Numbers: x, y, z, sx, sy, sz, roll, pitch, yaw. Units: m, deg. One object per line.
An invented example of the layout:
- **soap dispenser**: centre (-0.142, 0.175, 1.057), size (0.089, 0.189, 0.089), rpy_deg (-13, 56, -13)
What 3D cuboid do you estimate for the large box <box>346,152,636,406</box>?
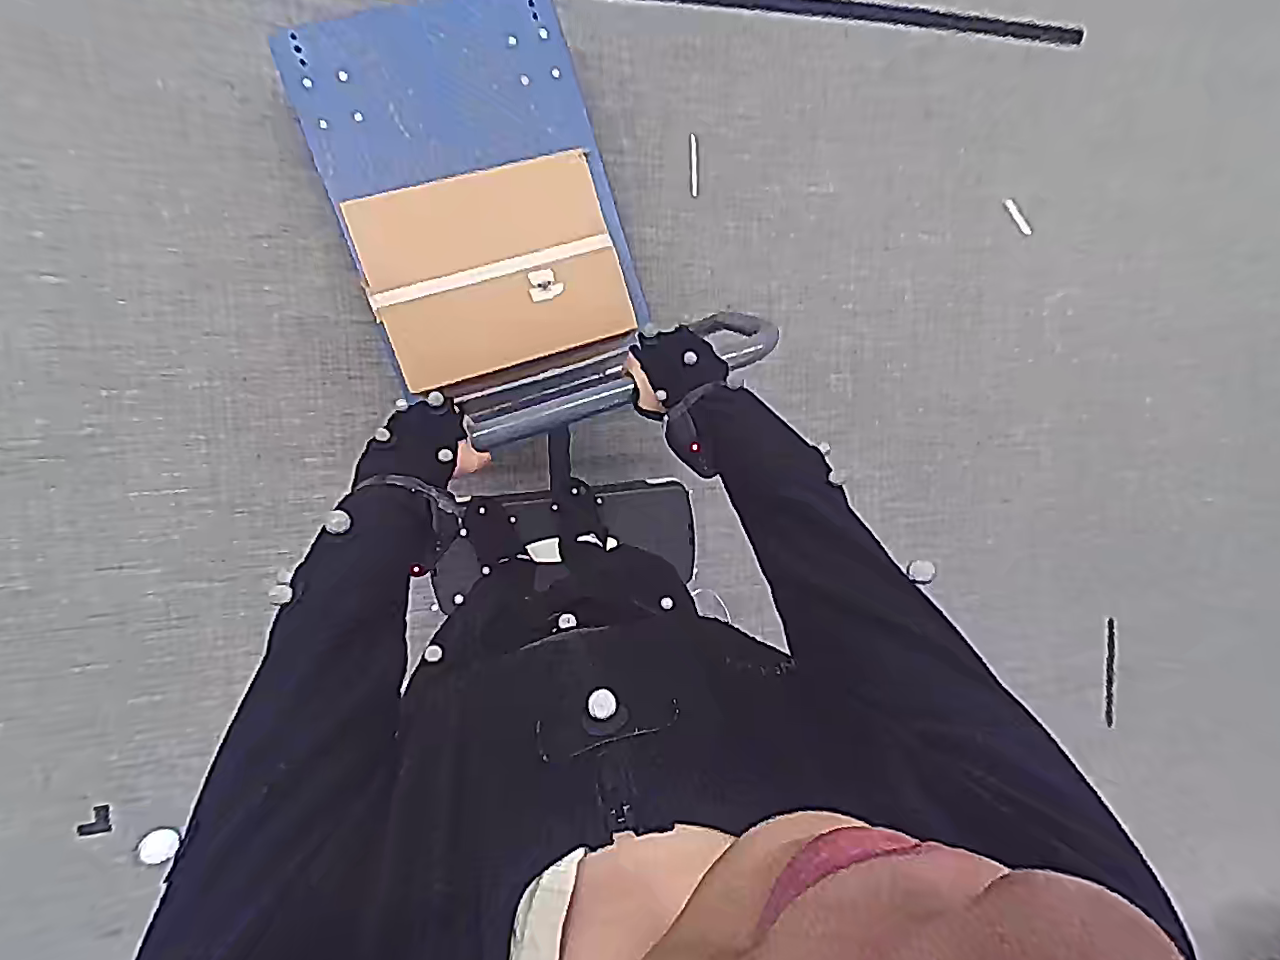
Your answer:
- **large box**: centre (-0.268, -0.358, 1.046), size (0.408, 0.320, 0.320), rpy_deg (-20, 99, -11)
